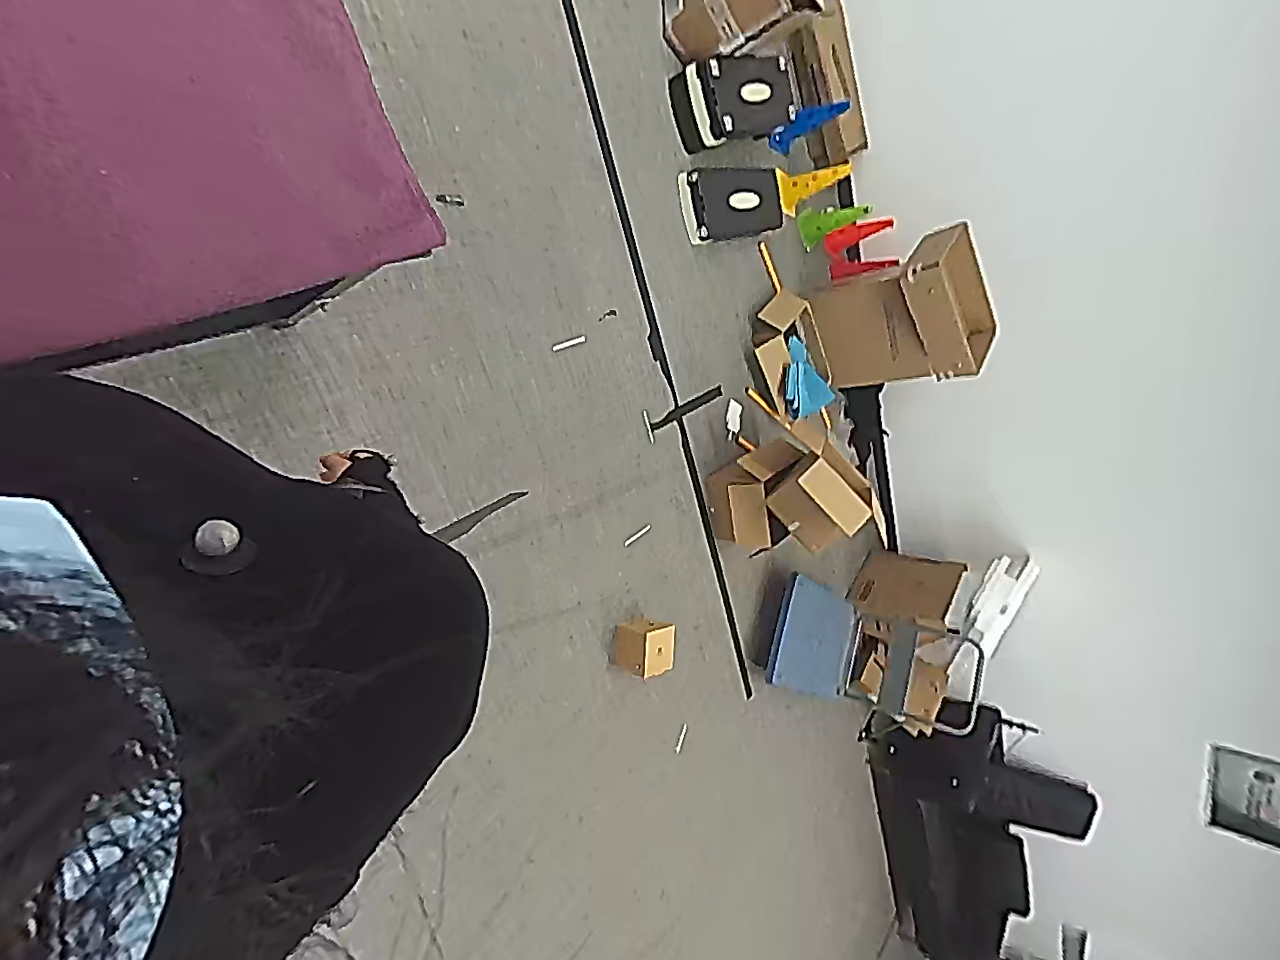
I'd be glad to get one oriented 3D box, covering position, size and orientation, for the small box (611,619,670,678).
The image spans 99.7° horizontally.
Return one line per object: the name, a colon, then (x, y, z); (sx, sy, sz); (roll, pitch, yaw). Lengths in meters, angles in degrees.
small box: (0.000, 0.656, 2.134); (0.168, 0.176, 0.179); (0, 93, -46)
